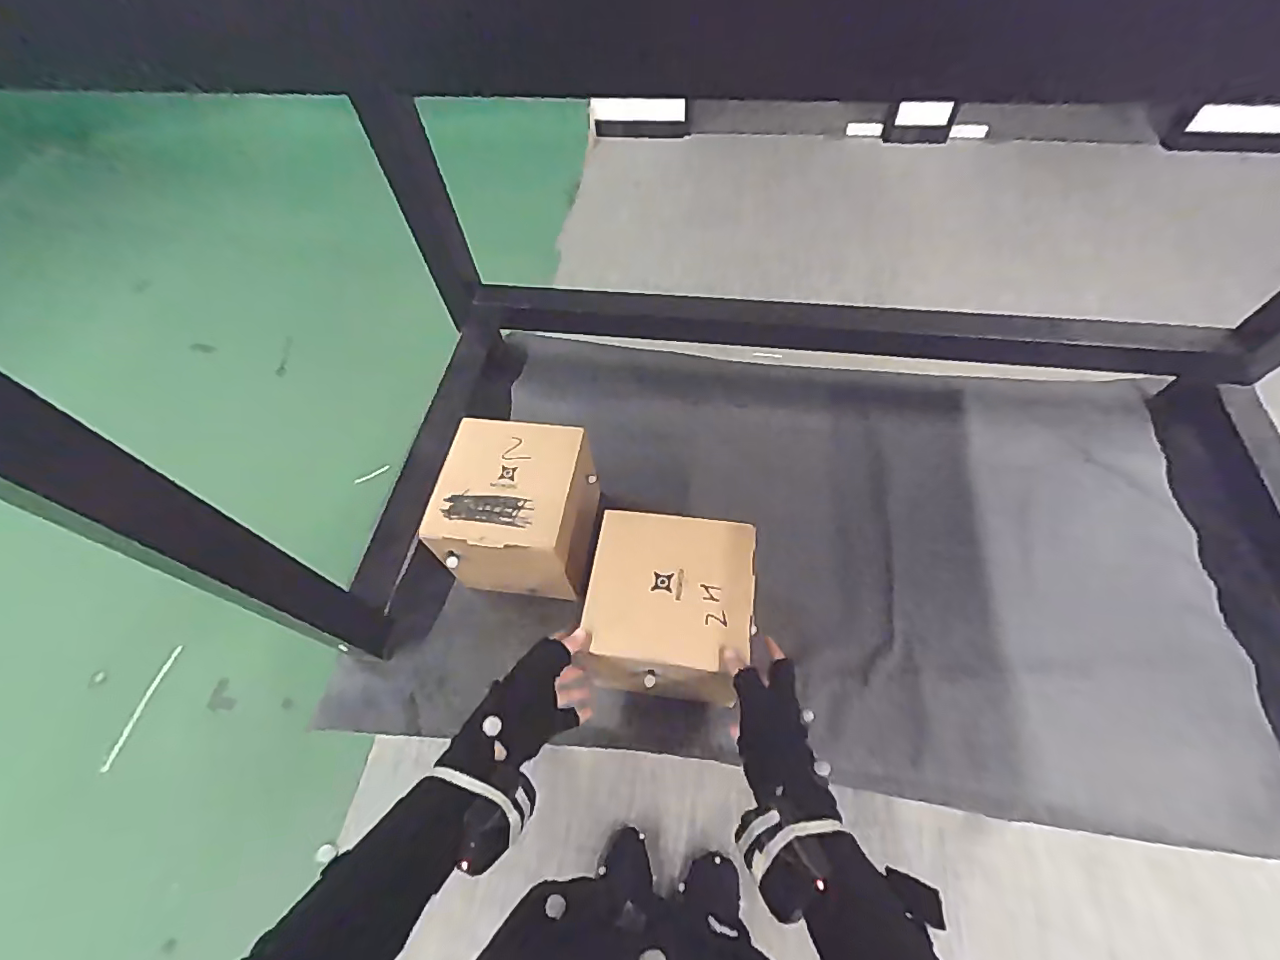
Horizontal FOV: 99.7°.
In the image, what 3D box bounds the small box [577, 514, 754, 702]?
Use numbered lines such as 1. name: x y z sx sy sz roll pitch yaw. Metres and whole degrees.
1. small box: 0.036 0.159 0.653 0.179 0.176 0.168 6 59 7
